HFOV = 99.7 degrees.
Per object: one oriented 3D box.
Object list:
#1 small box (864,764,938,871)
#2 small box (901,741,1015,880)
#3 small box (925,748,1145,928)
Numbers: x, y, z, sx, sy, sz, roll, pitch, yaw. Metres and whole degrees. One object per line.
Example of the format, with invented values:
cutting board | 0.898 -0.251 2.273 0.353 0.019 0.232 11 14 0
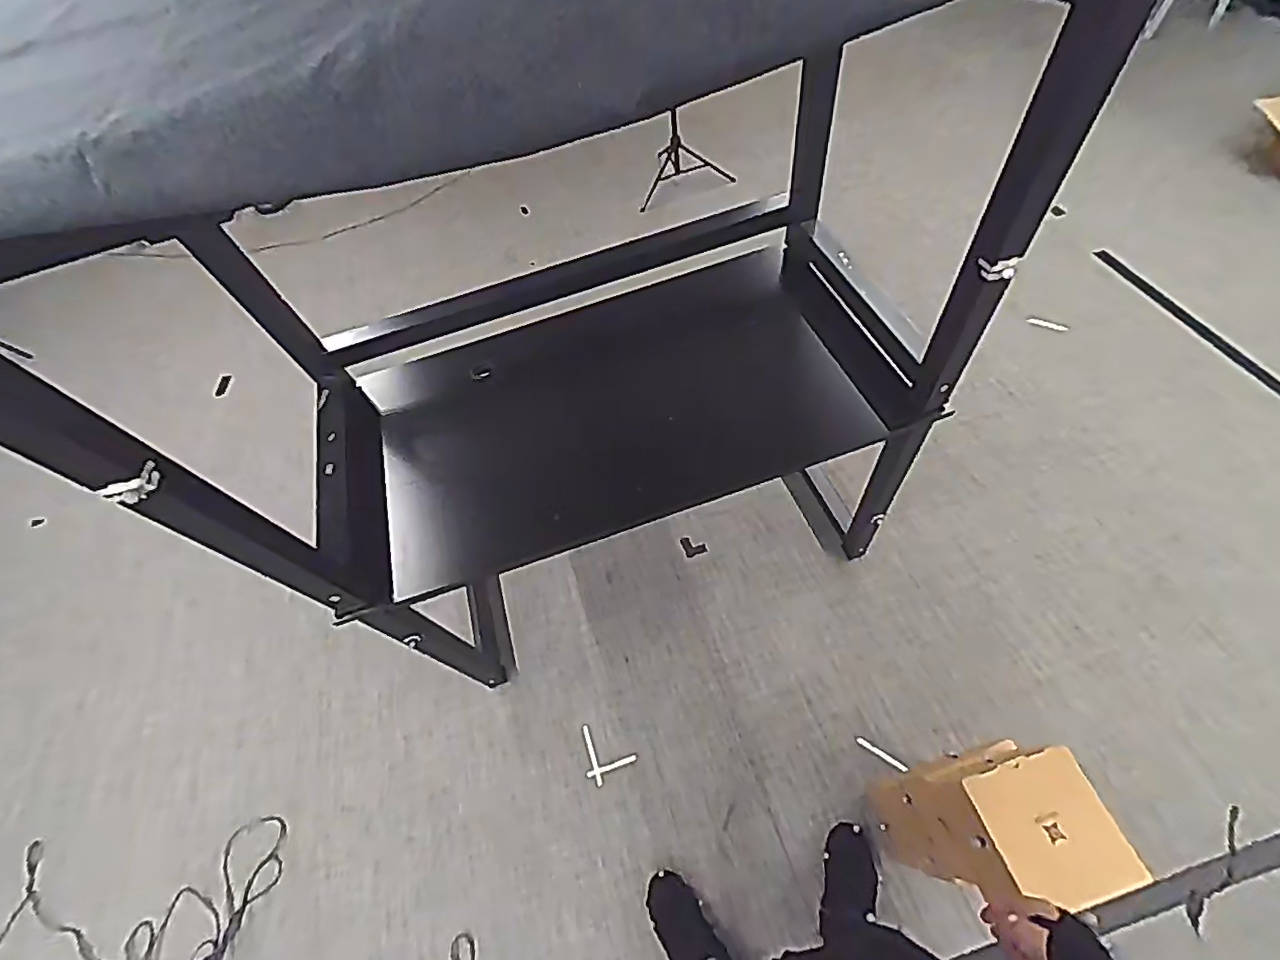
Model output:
small box | 0.642 0.759 1.233 0.179 0.176 0.168 -20 58 -3
small box | 0.592 0.586 0.958 0.179 0.176 0.168 -20 59 -4
small box | 0.568 0.522 0.809 0.168 0.176 0.179 -18 58 -2
